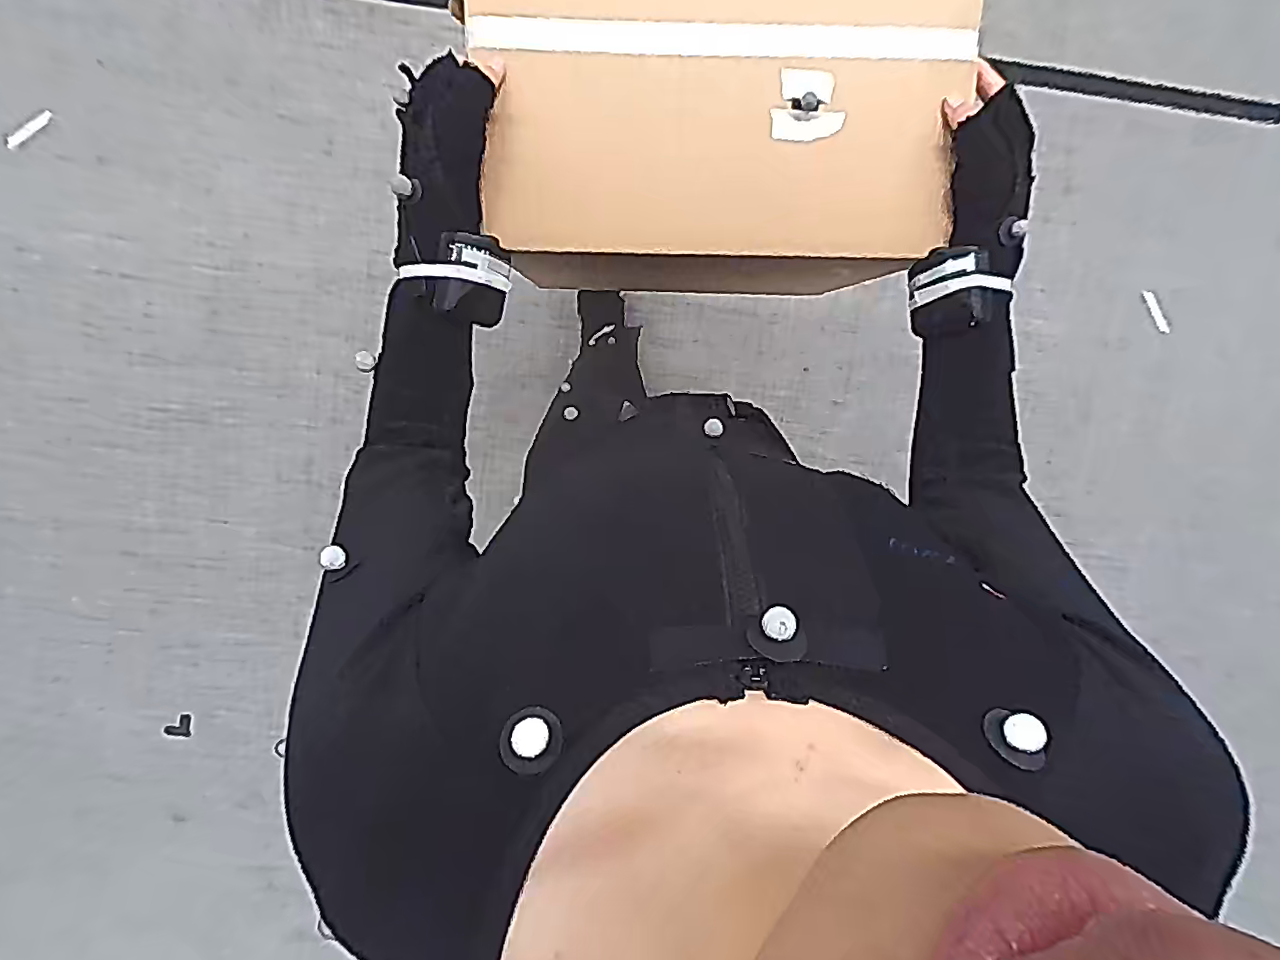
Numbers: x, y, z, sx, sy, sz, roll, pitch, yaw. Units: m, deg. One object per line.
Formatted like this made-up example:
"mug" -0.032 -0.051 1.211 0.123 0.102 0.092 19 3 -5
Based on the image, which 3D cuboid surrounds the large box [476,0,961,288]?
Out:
"large box" 0.059 -0.393 0.593 0.408 0.320 0.320 0 104 -3
